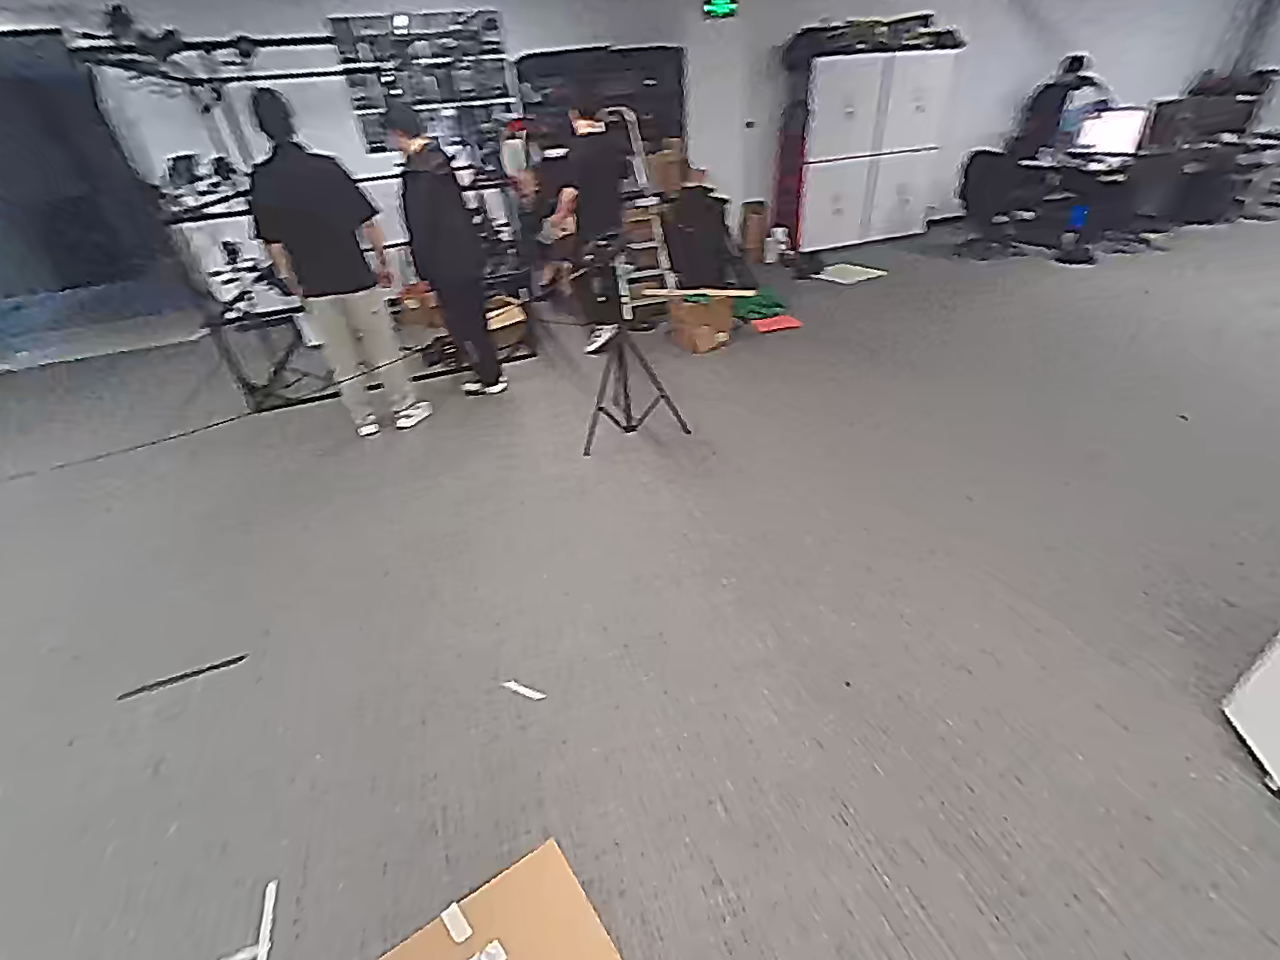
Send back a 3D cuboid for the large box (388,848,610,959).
[{"bbox_3d":[-0.146,0.793,0.677,0.320,0.408,0.320,-21,26,-28],"label":"large box"}]
